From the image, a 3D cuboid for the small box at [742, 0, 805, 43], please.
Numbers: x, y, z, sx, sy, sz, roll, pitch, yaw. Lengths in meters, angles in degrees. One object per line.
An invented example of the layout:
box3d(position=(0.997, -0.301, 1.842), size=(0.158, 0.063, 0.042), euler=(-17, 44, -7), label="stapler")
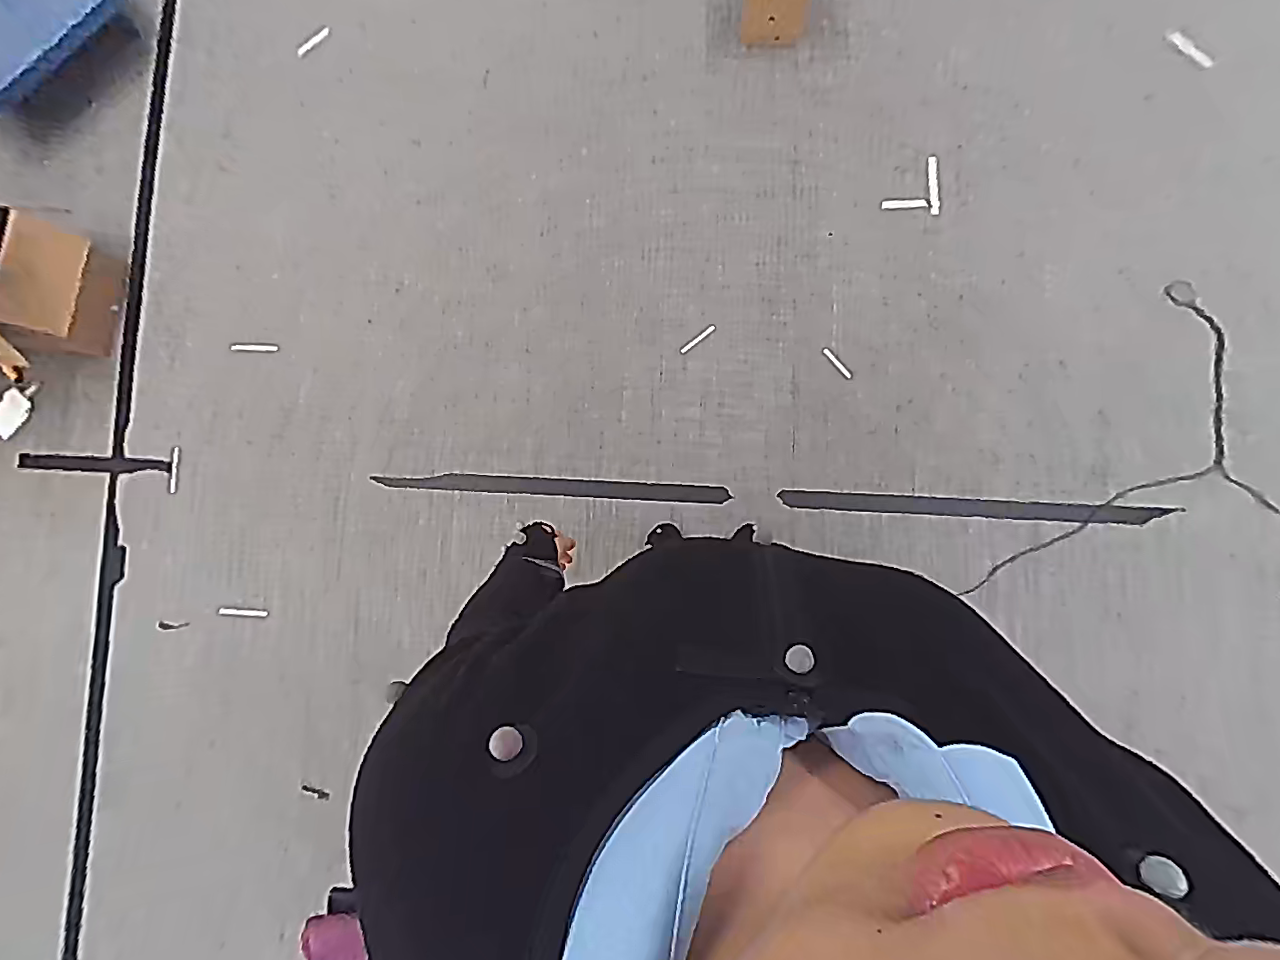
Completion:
box3d(position=(0.385, -1.389, 1.535), size=(0.168, 0.176, 0.179), euler=(5, 85, 5), label="small box")
